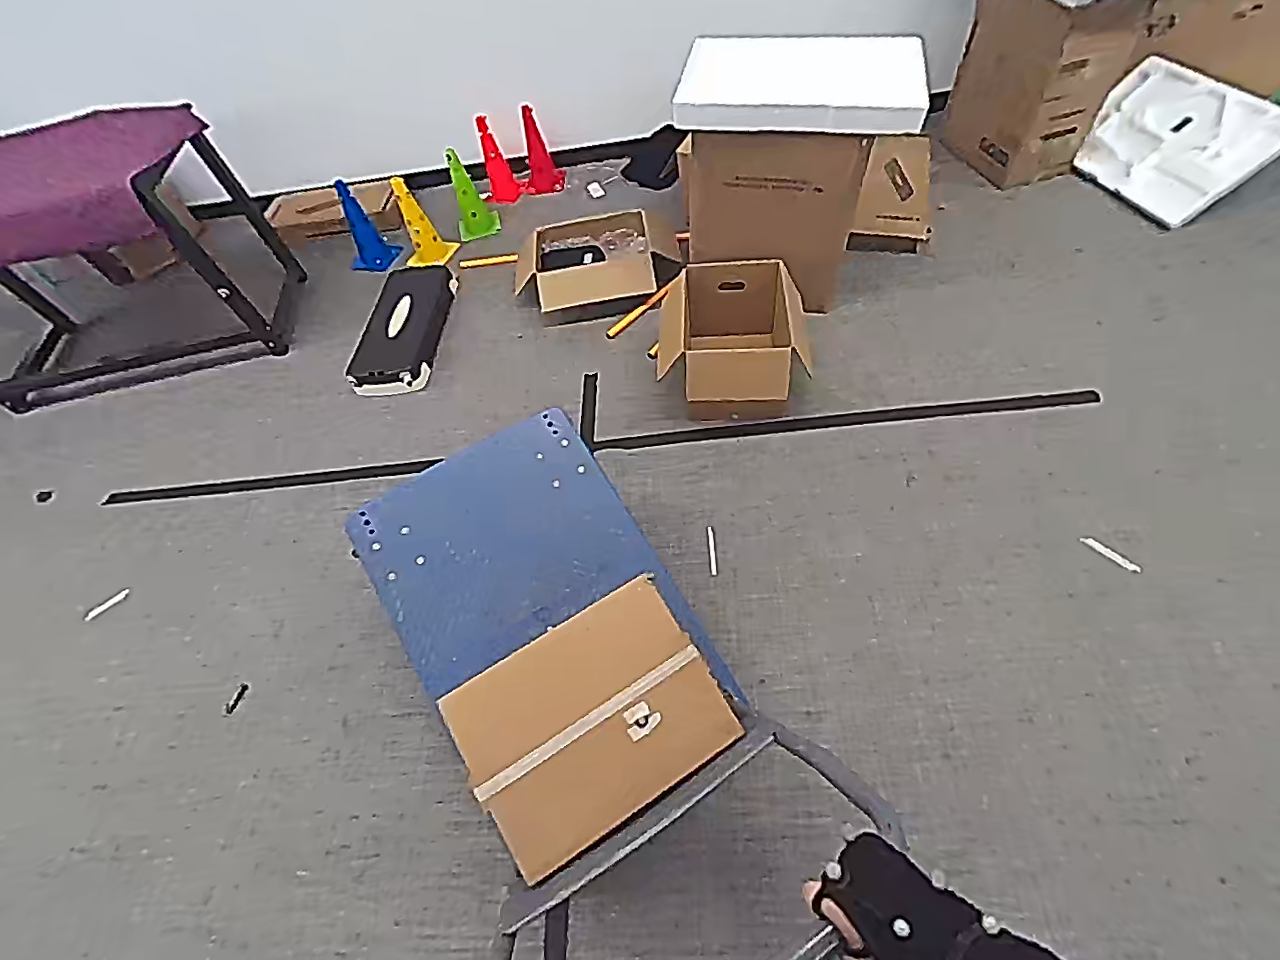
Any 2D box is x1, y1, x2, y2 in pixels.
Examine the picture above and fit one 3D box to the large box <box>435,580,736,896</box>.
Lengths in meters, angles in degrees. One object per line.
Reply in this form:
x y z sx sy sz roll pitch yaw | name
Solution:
-0.097 0.442 1.016 0.408 0.320 0.320 -31 79 -13 | large box
